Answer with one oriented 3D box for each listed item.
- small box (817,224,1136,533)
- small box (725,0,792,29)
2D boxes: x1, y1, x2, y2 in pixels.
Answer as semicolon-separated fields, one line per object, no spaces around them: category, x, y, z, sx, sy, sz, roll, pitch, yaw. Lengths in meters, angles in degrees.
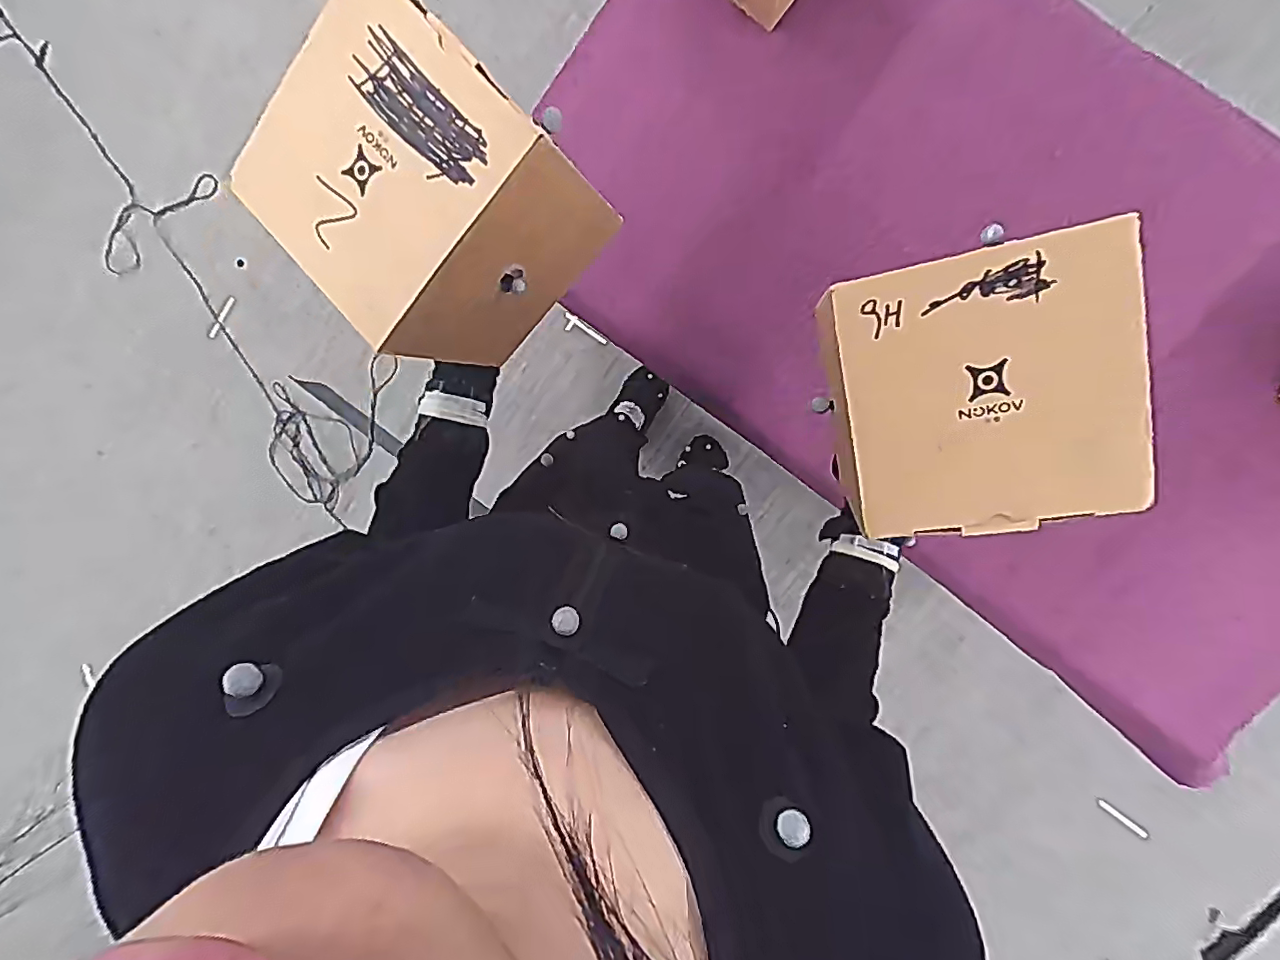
small box;0.237;-0.074;0.421;0.168;0.176;0.179;-8;101;16
small box;0.143;-0.661;0.581;0.168;0.176;0.179;40;101;0
